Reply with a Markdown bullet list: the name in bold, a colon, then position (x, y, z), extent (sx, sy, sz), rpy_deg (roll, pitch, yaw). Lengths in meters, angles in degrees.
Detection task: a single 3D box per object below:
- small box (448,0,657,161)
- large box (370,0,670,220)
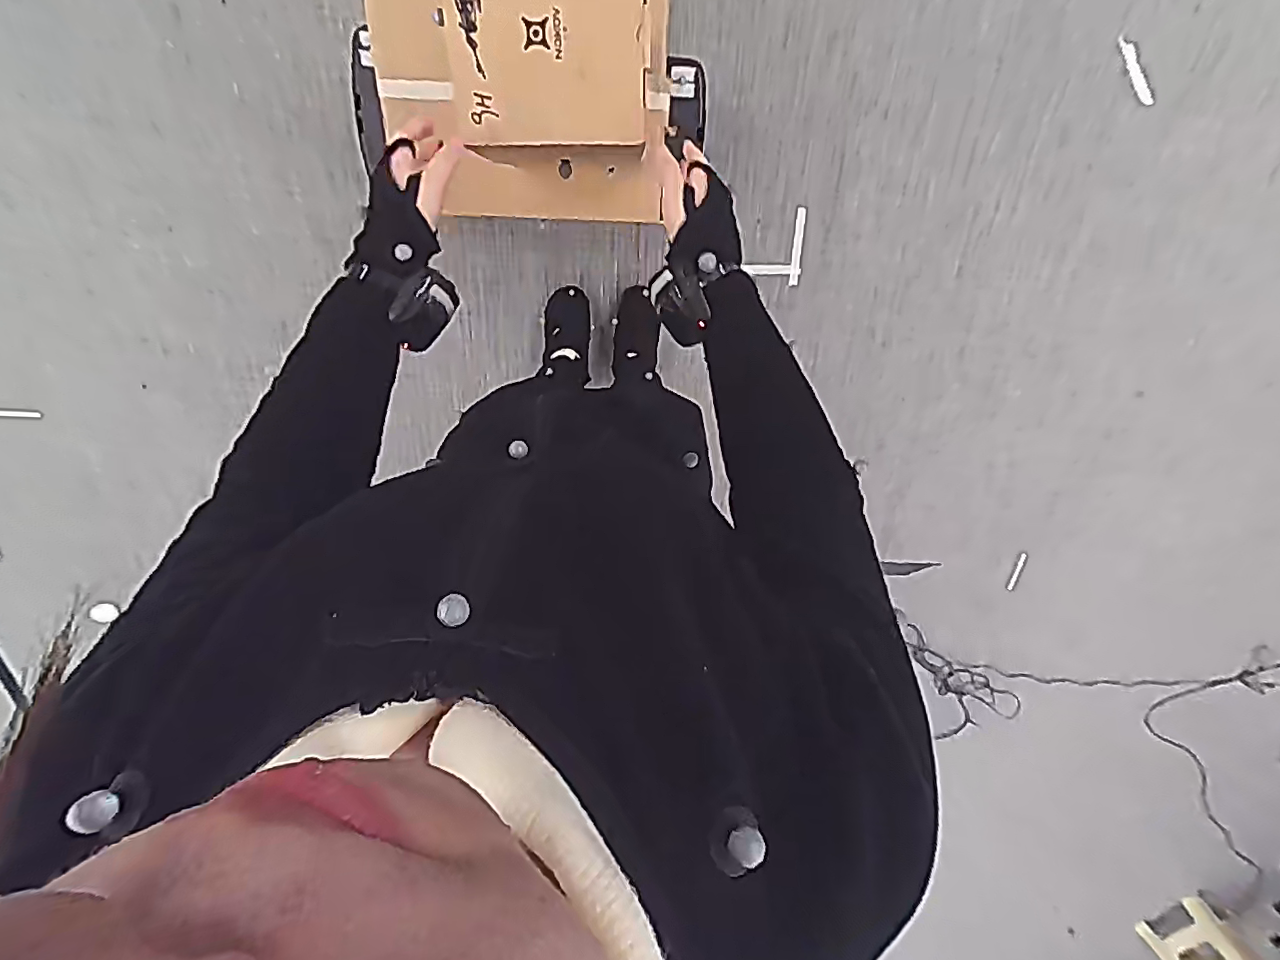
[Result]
- **small box**: position (-0.078, -0.421, 0.533), extent (0.179, 0.176, 0.168), rpy_deg (-1, 114, -2)
- **large box**: position (-0.162, -0.608, 0.893), extent (0.408, 0.320, 0.320), rpy_deg (1, 115, -2)
